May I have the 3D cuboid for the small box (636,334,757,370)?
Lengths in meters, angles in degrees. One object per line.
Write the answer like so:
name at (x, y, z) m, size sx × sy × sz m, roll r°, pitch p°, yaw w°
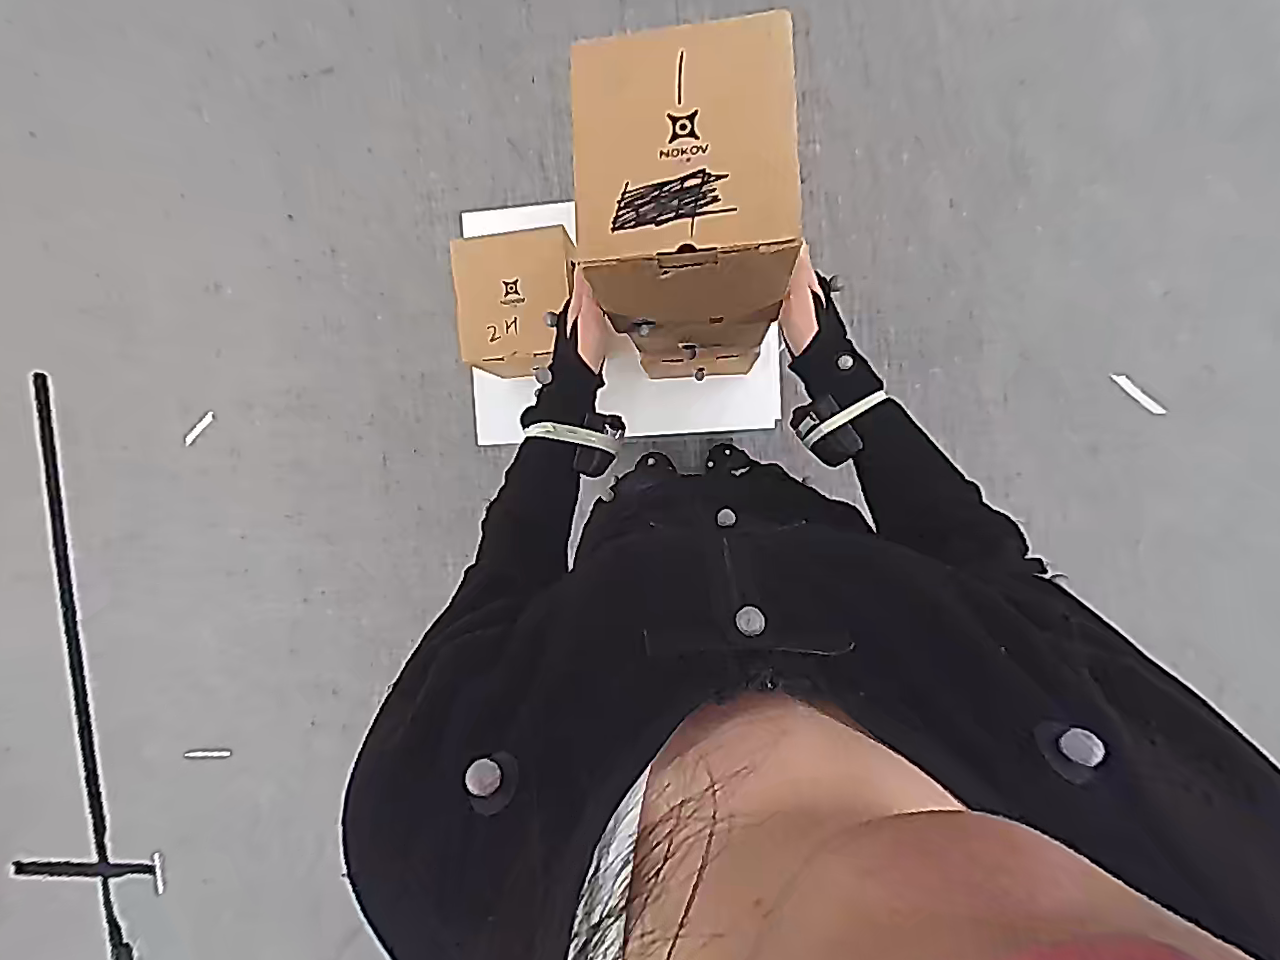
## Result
small box at (0.082, -0.259, 0.801) m, size 0.168 × 0.176 × 0.179 m, roll -2°, pitch 94°, yaw 6°

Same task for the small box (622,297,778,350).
small box at (0.066, -0.262, 0.639) m, size 0.168 × 0.176 × 0.179 m, roll -3°, pitch 93°, yaw 7°

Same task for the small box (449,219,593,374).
small box at (-0.171, -0.268, 0.826) m, size 0.168 × 0.176 × 0.179 m, roll -5°, pitch 93°, yaw 6°

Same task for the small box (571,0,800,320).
small box at (0.042, -0.249, 0.470) m, size 0.168 × 0.176 × 0.179 m, roll -2°, pitch 86°, yaw 7°
